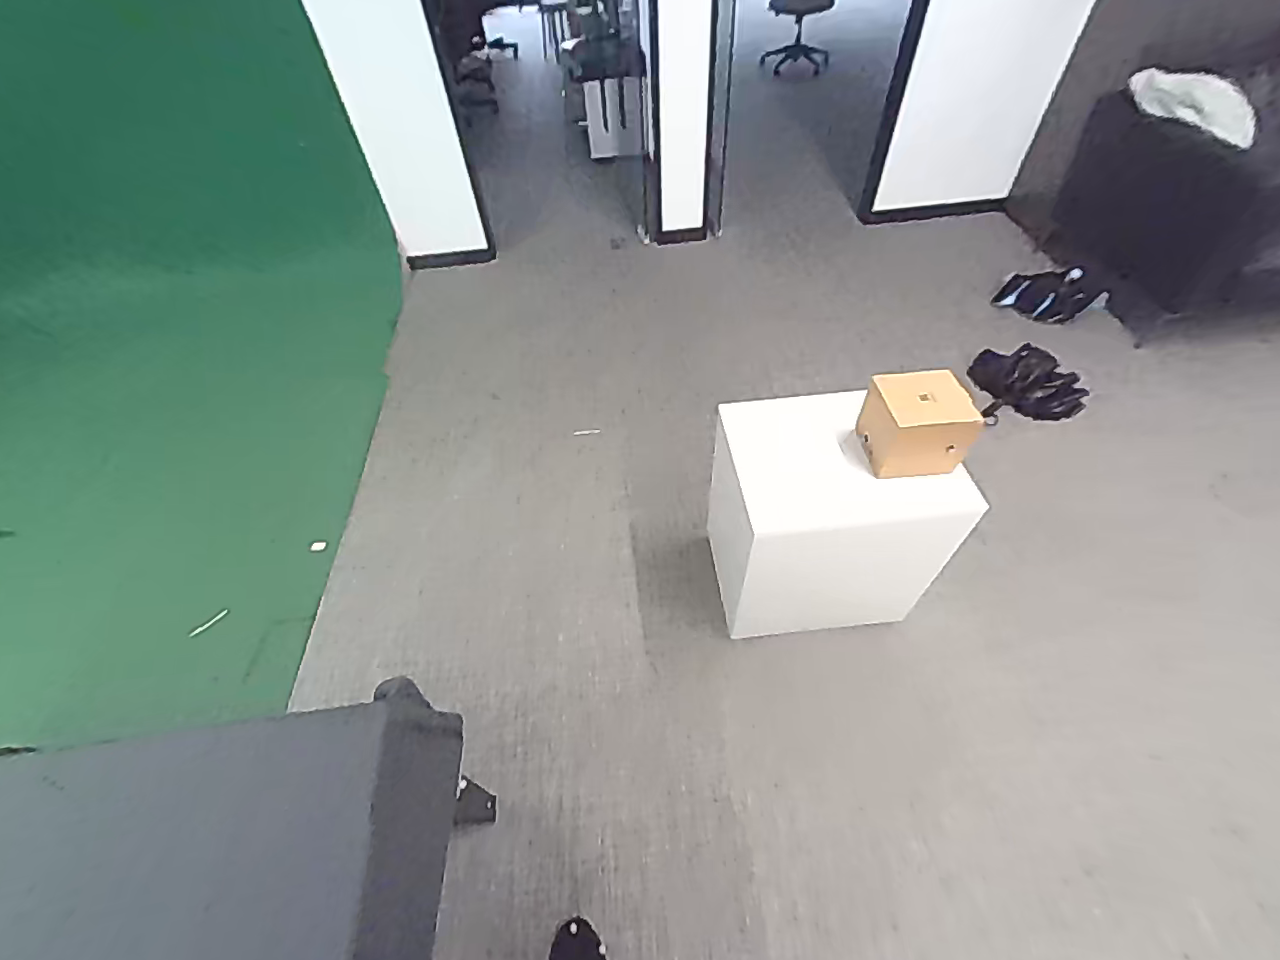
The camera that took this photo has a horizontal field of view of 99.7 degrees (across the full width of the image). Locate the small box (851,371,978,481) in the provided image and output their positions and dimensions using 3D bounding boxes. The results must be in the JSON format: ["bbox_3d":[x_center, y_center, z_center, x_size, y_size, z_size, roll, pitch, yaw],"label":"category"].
[{"bbox_3d":[0.593,-0.116,1.193,0.179,0.176,0.168,-6,49,0],"label":"small box"}]
